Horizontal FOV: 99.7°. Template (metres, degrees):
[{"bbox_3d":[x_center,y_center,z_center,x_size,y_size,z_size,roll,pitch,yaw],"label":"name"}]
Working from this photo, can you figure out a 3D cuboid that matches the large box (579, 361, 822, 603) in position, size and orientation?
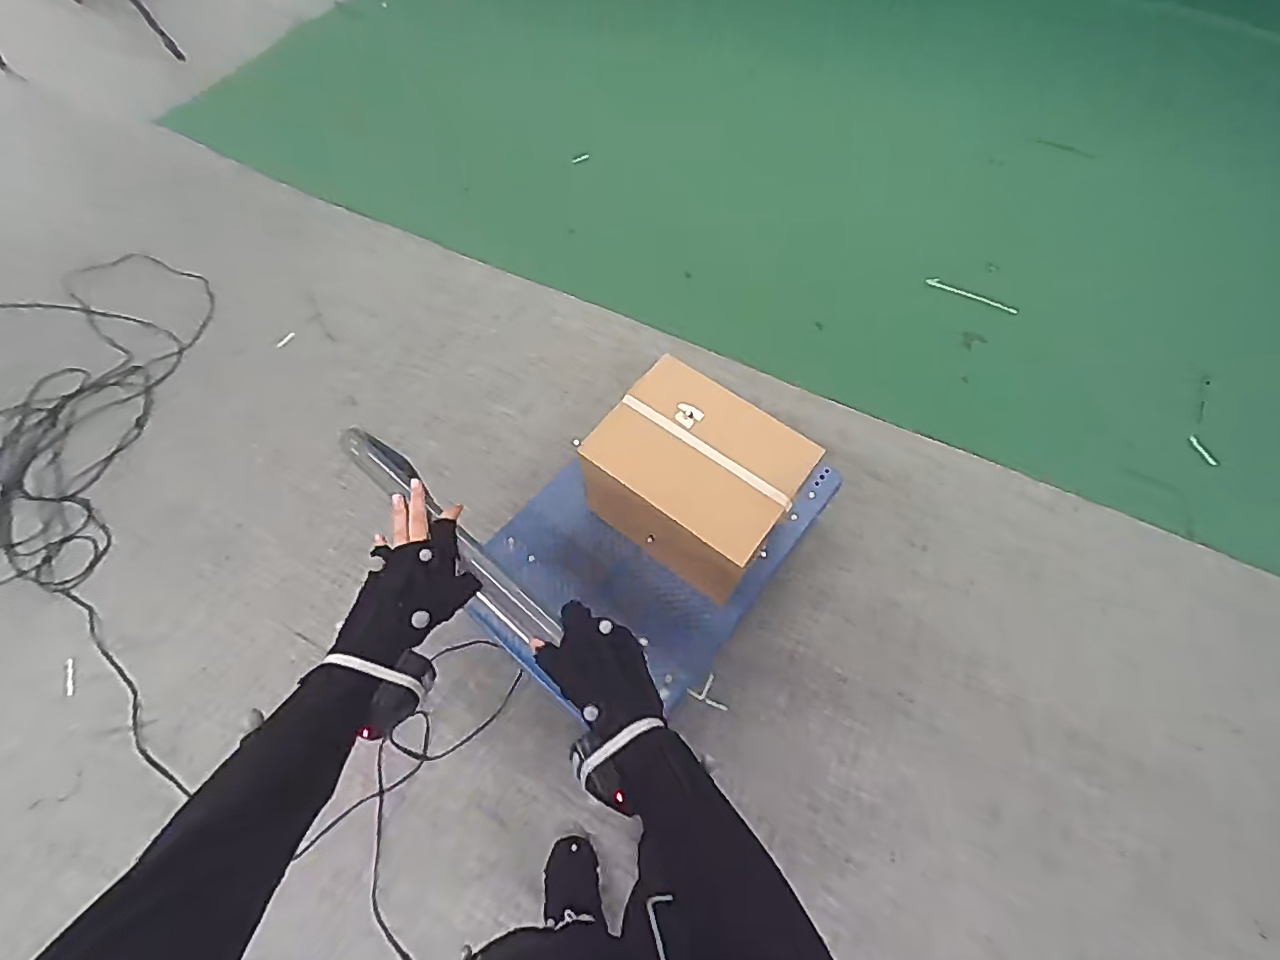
[{"bbox_3d":[0.126,0.013,1.229,0.408,0.320,0.320,35,67,17],"label":"large box"}]
